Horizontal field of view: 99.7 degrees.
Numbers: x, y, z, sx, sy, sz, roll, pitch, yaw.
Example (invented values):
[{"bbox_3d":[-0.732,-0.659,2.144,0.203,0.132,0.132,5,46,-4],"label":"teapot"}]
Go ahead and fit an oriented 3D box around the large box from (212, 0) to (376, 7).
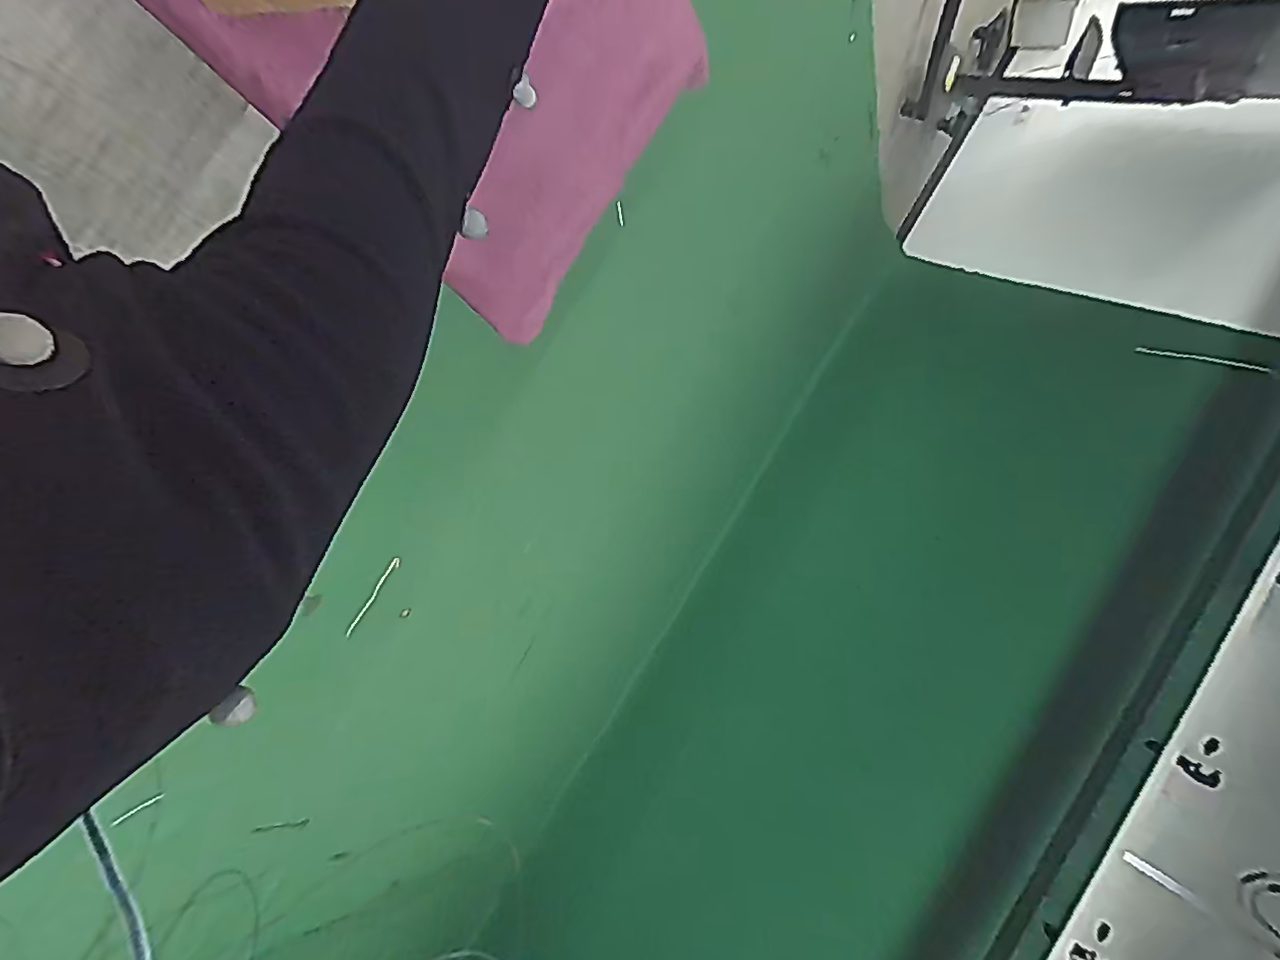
[{"bbox_3d":[-0.252,-0.614,0.343,0.408,0.320,0.320,-56,148,-6],"label":"large box"}]
